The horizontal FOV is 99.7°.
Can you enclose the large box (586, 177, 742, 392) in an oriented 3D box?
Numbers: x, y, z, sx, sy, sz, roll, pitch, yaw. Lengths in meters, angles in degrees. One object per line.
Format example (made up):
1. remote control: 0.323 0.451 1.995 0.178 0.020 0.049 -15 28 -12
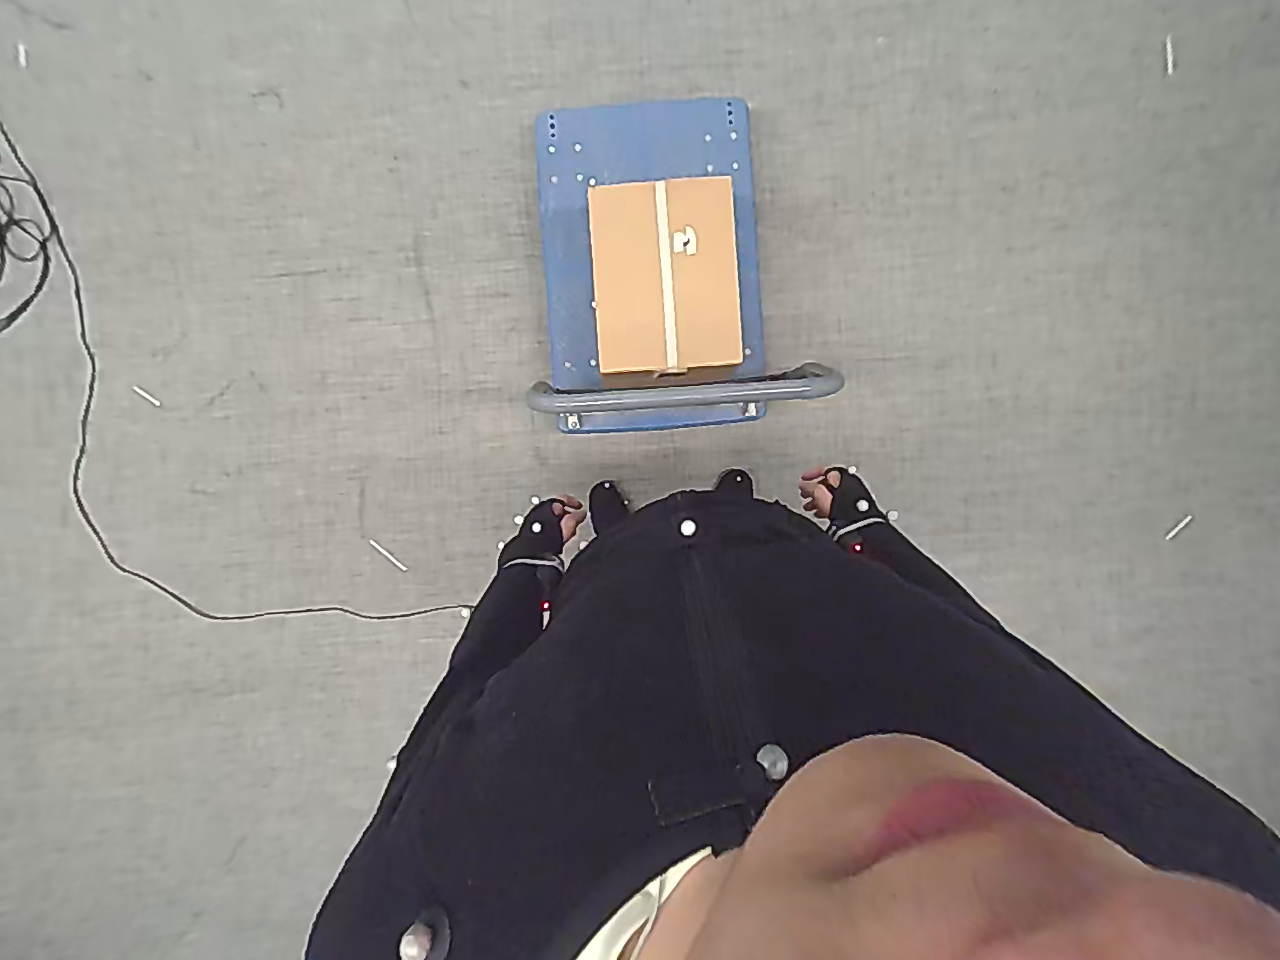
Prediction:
1. large box: 0.054 -0.444 1.313 0.320 0.320 0.408 -4 90 0
